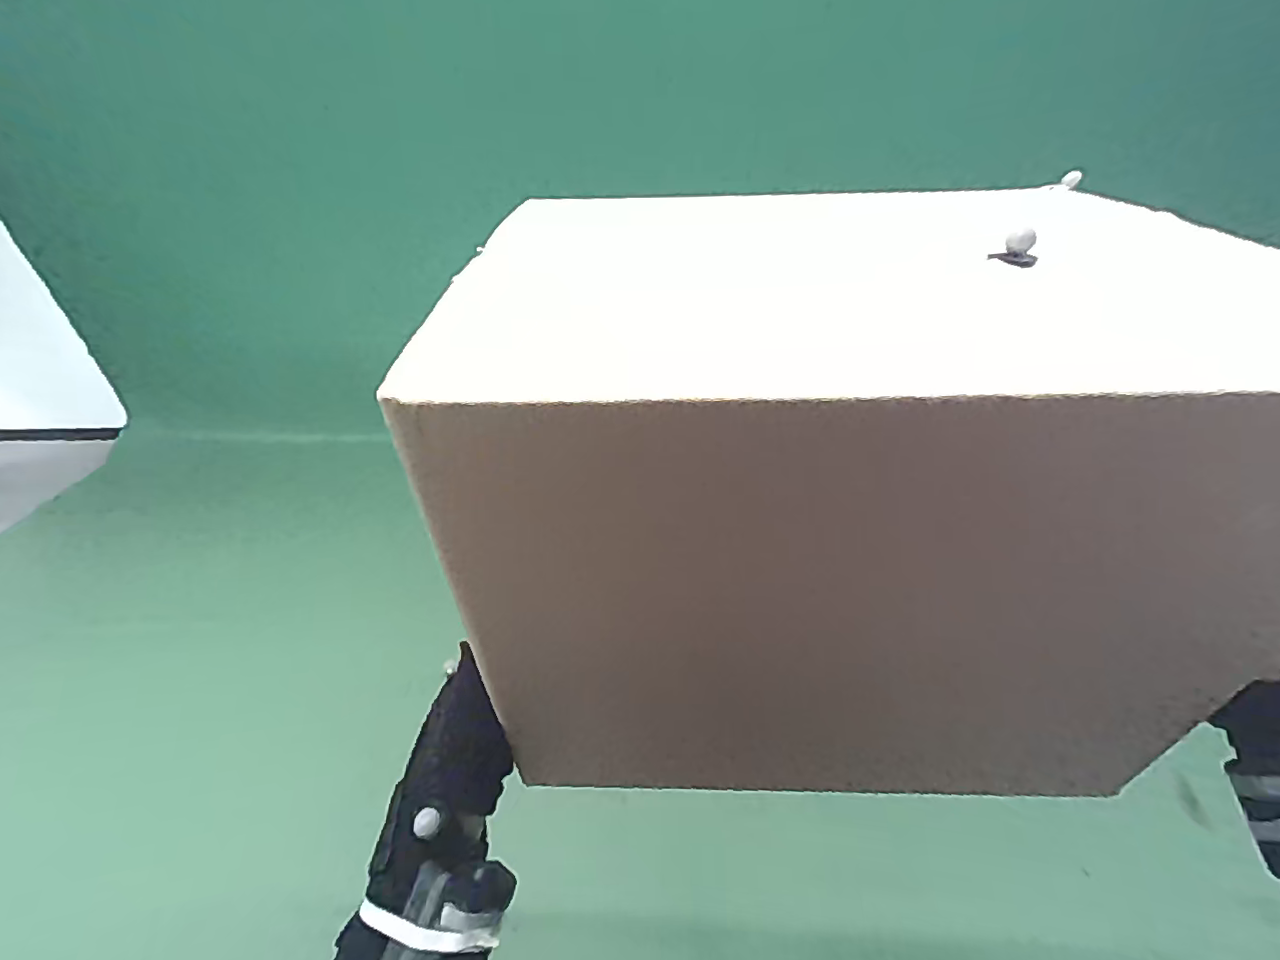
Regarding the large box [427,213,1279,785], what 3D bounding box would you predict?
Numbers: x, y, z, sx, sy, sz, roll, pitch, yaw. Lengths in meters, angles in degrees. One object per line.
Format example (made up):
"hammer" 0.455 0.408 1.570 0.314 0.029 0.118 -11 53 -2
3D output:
"large box" 0.120 0.001 0.403 0.408 0.320 0.320 1 39 2
